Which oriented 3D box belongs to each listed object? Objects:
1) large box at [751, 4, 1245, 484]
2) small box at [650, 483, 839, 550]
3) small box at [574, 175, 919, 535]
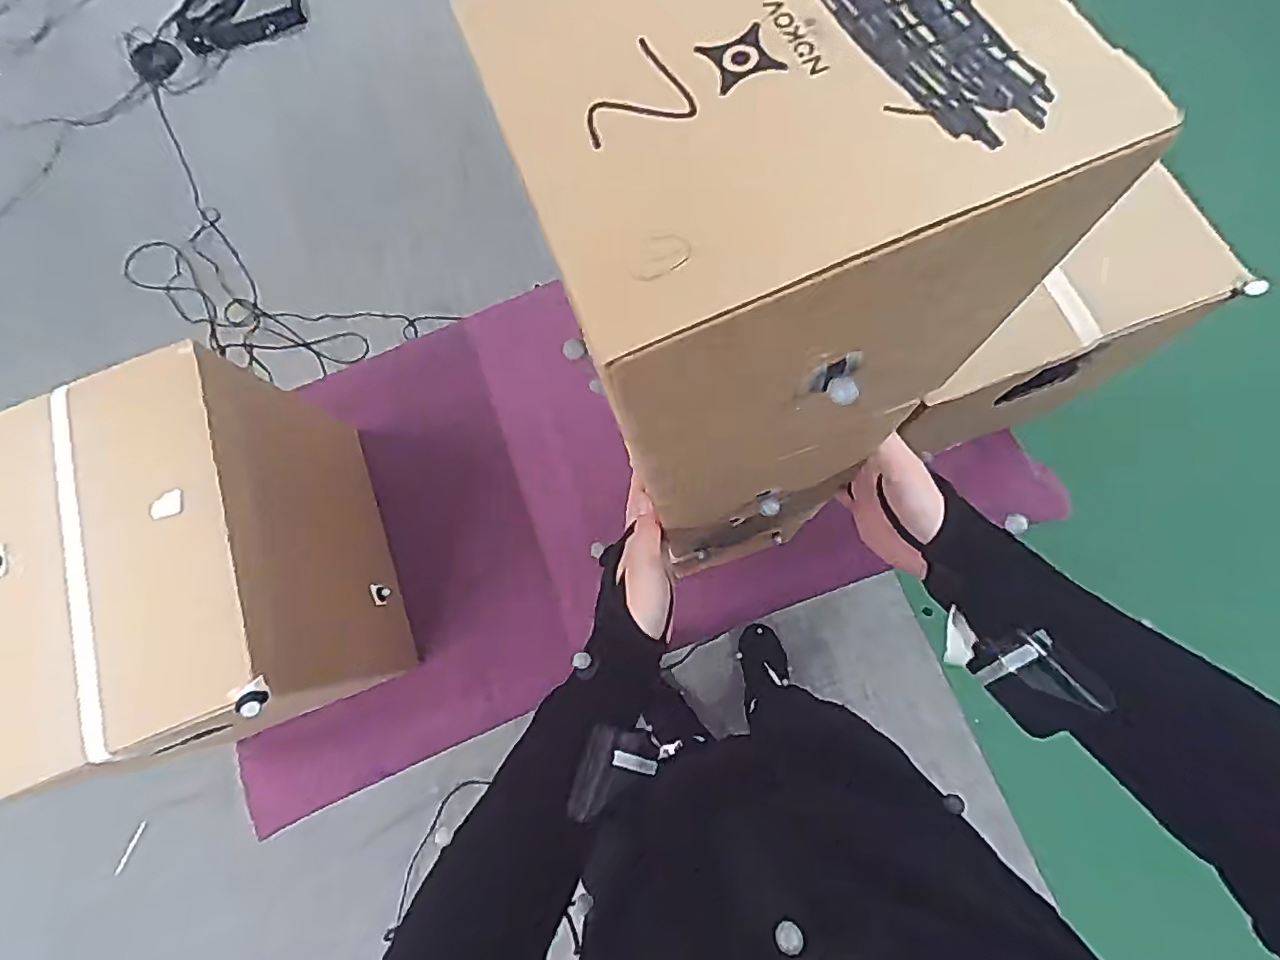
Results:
[{"bbox_3d":[0.356,-0.257,0.687,0.320,0.320,0.408,-21,75,2],"label":"large box"},{"bbox_3d":[0.083,-0.033,0.563,0.168,0.176,0.179,-17,73,2],"label":"small box"},{"bbox_3d":[0.065,-0.075,0.405,0.168,0.176,0.179,-18,73,2],"label":"small box"}]
